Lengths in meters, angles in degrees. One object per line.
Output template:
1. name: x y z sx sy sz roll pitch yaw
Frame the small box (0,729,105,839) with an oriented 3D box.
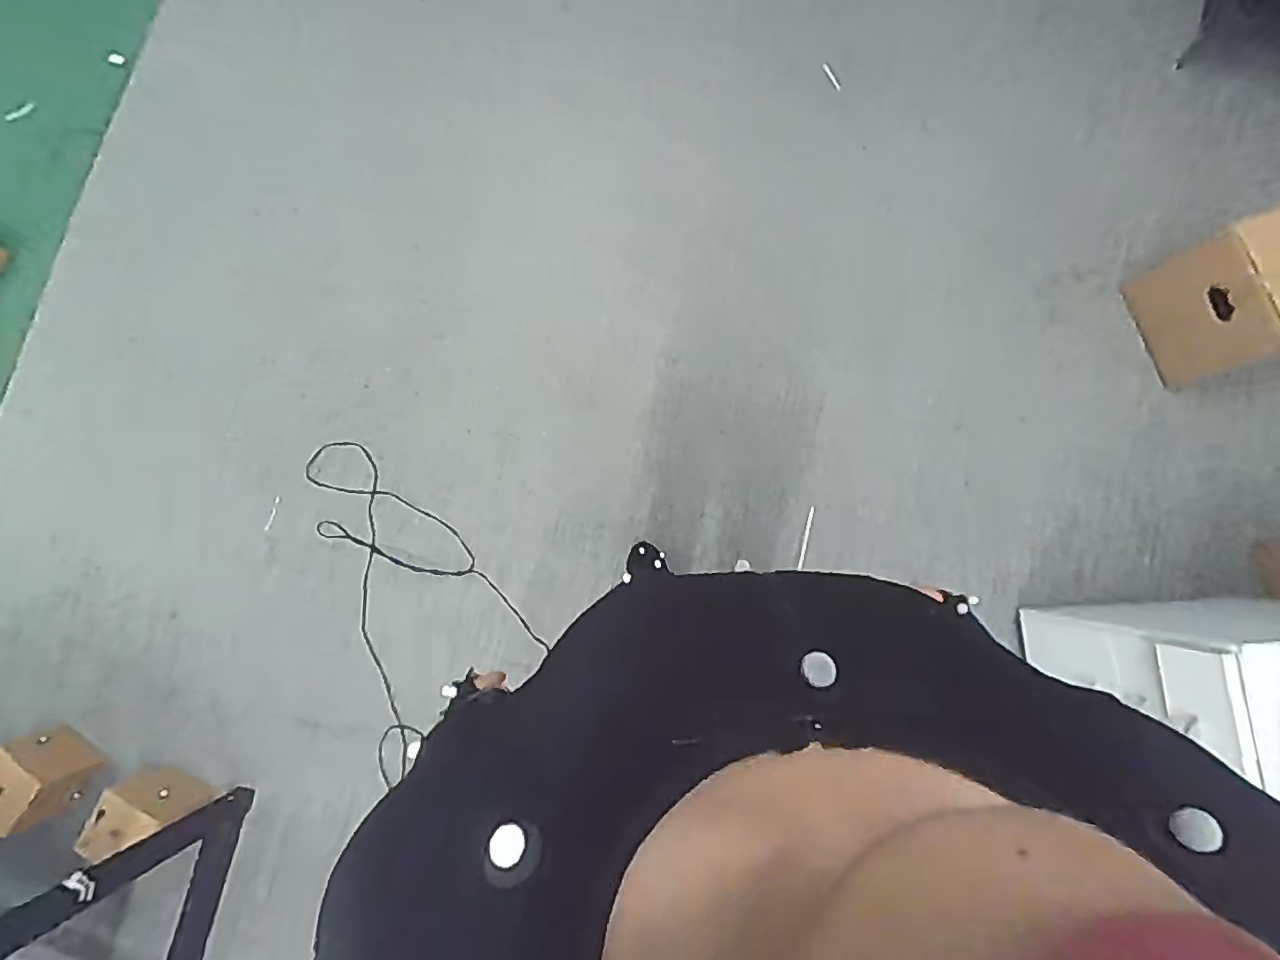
1. small box: -1.624 0.800 1.449 0.179 0.176 0.168 34 86 6

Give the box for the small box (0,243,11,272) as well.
1. small box: -2.162 -0.722 1.692 0.168 0.176 0.179 33 85 7

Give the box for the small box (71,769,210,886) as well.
1. small box: -1.292 0.895 1.415 0.179 0.176 0.168 26 84 6
